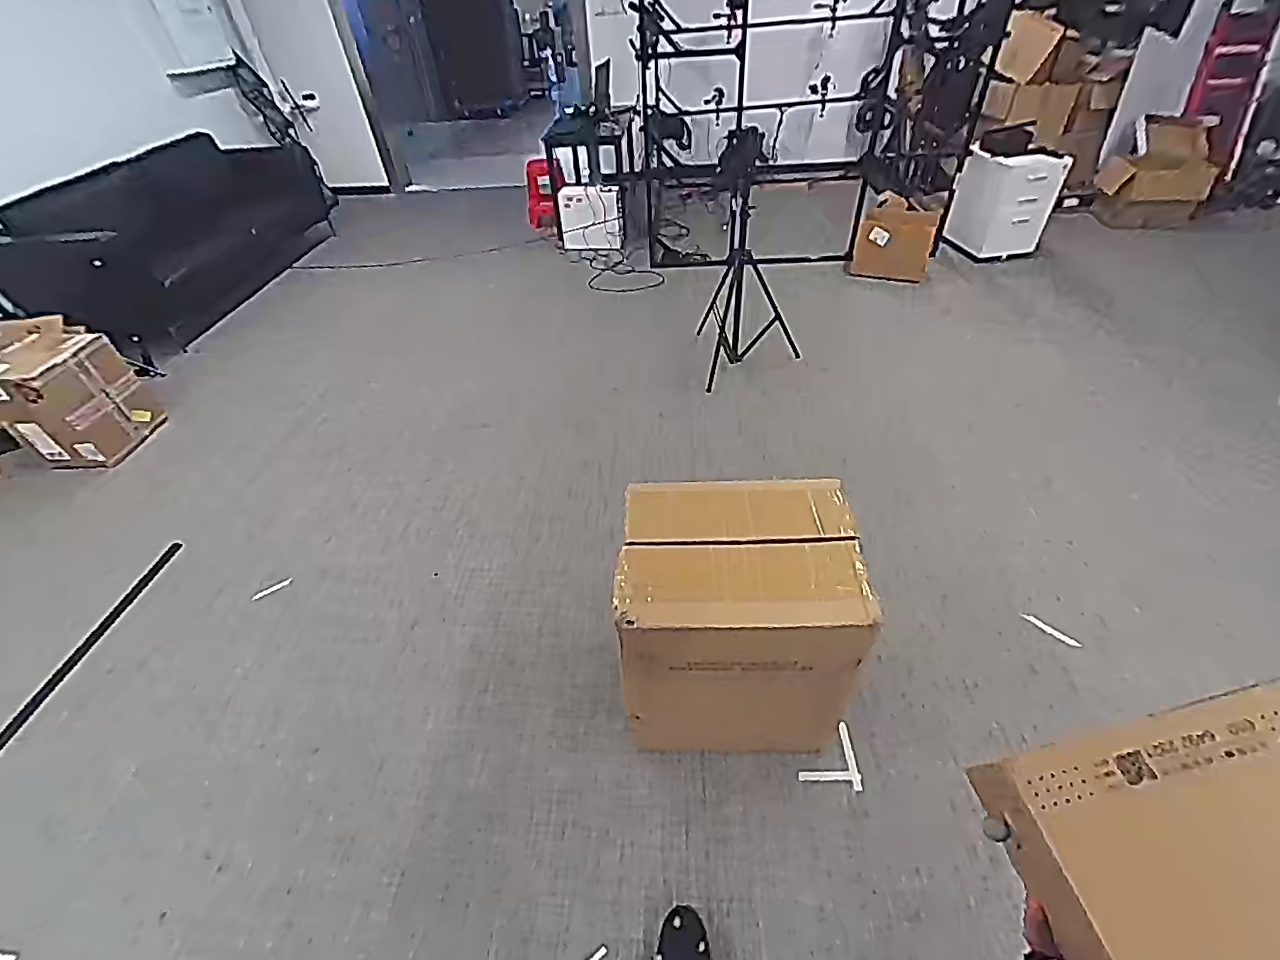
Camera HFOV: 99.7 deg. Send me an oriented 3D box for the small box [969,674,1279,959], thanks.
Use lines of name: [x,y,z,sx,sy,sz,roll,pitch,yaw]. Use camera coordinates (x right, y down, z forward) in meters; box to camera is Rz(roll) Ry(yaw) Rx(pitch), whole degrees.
small box: [0.333,0.232,0.330,0.168,0.179,0.176,-24,55,11]
